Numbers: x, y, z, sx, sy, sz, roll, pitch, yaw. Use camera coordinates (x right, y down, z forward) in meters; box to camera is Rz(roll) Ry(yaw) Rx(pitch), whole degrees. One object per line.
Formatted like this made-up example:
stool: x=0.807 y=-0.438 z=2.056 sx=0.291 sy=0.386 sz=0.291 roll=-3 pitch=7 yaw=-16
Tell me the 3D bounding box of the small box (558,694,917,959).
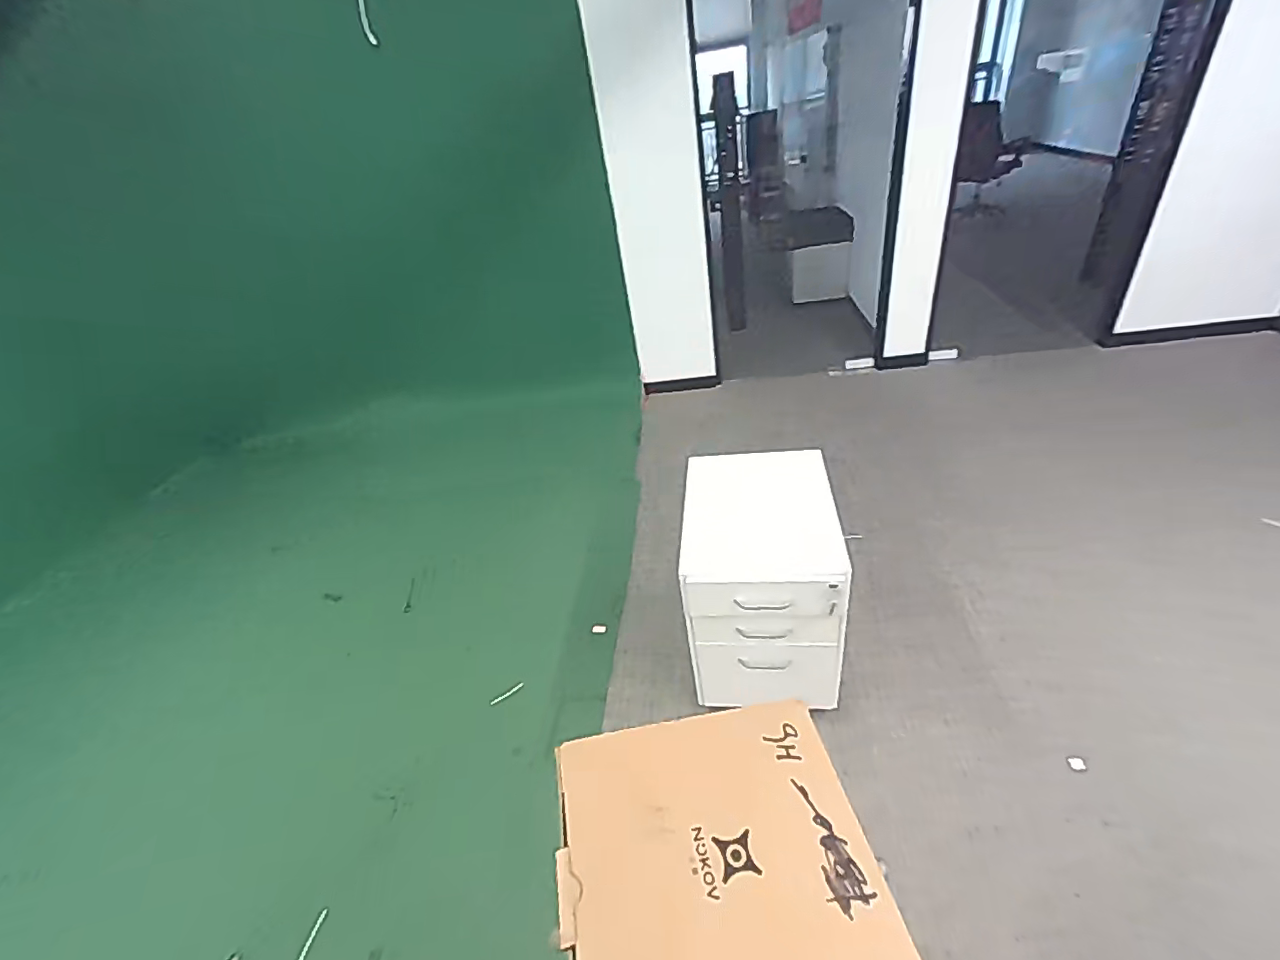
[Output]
small box: x=0.044 y=0.275 z=0.363 sx=0.179 sy=0.176 sz=0.168 roll=-6 pitch=39 yaw=-8
